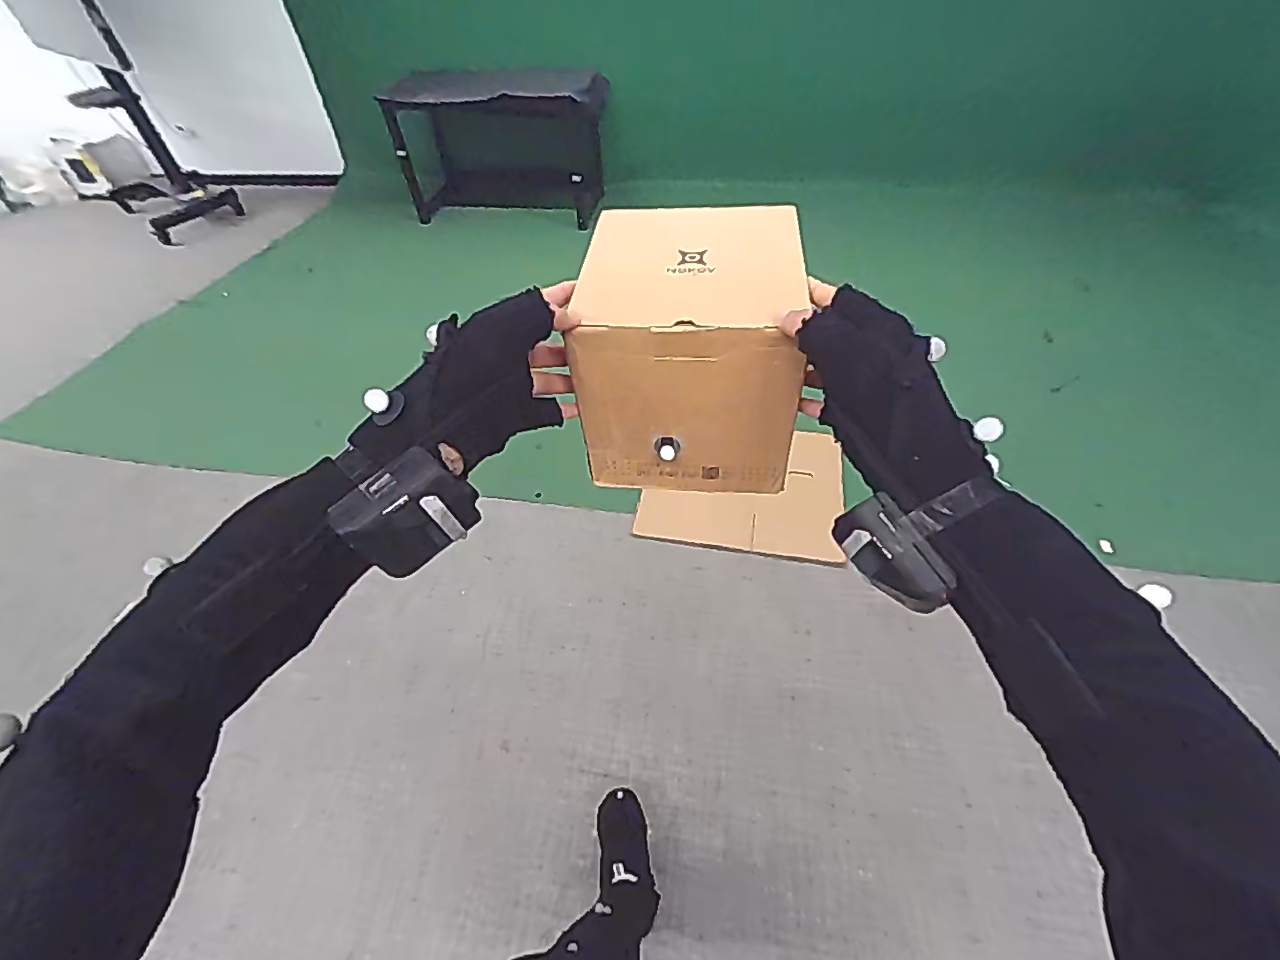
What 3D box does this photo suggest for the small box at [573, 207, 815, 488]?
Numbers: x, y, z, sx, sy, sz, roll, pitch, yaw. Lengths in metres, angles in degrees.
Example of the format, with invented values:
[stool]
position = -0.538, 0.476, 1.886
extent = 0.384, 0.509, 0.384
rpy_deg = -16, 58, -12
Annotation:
[small box]
position = 0.047, -0.116, 0.473
extent = 0.168, 0.176, 0.179
rpy_deg = 3, 51, 7
